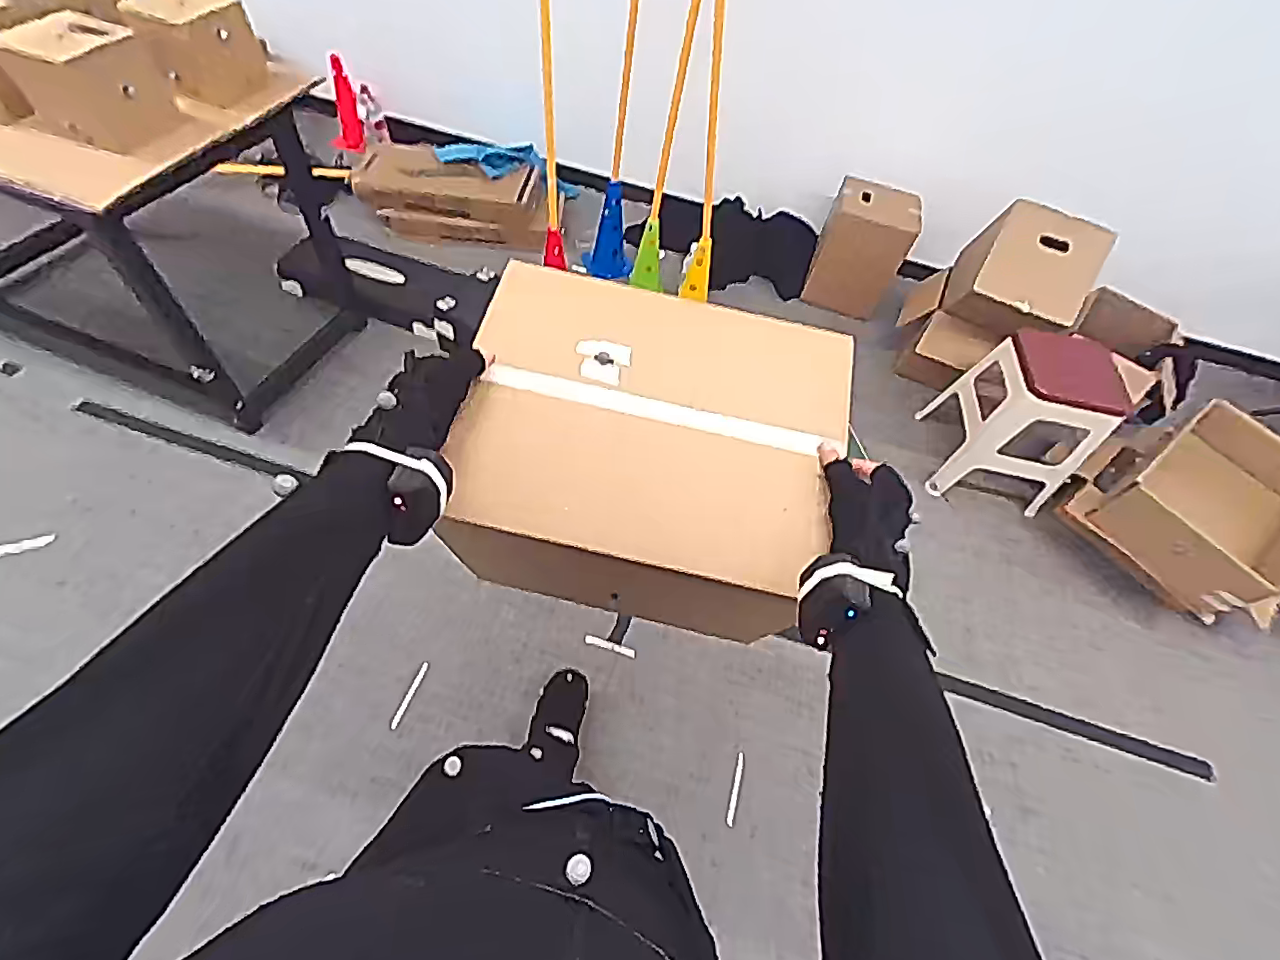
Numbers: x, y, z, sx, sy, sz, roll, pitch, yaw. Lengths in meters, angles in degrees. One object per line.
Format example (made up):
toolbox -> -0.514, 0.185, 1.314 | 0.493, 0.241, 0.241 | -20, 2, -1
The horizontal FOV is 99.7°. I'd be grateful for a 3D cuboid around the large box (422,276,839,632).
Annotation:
large box -> 0.004, -0.009, 0.716 | 0.408, 0.320, 0.320 | 13, 66, 2
